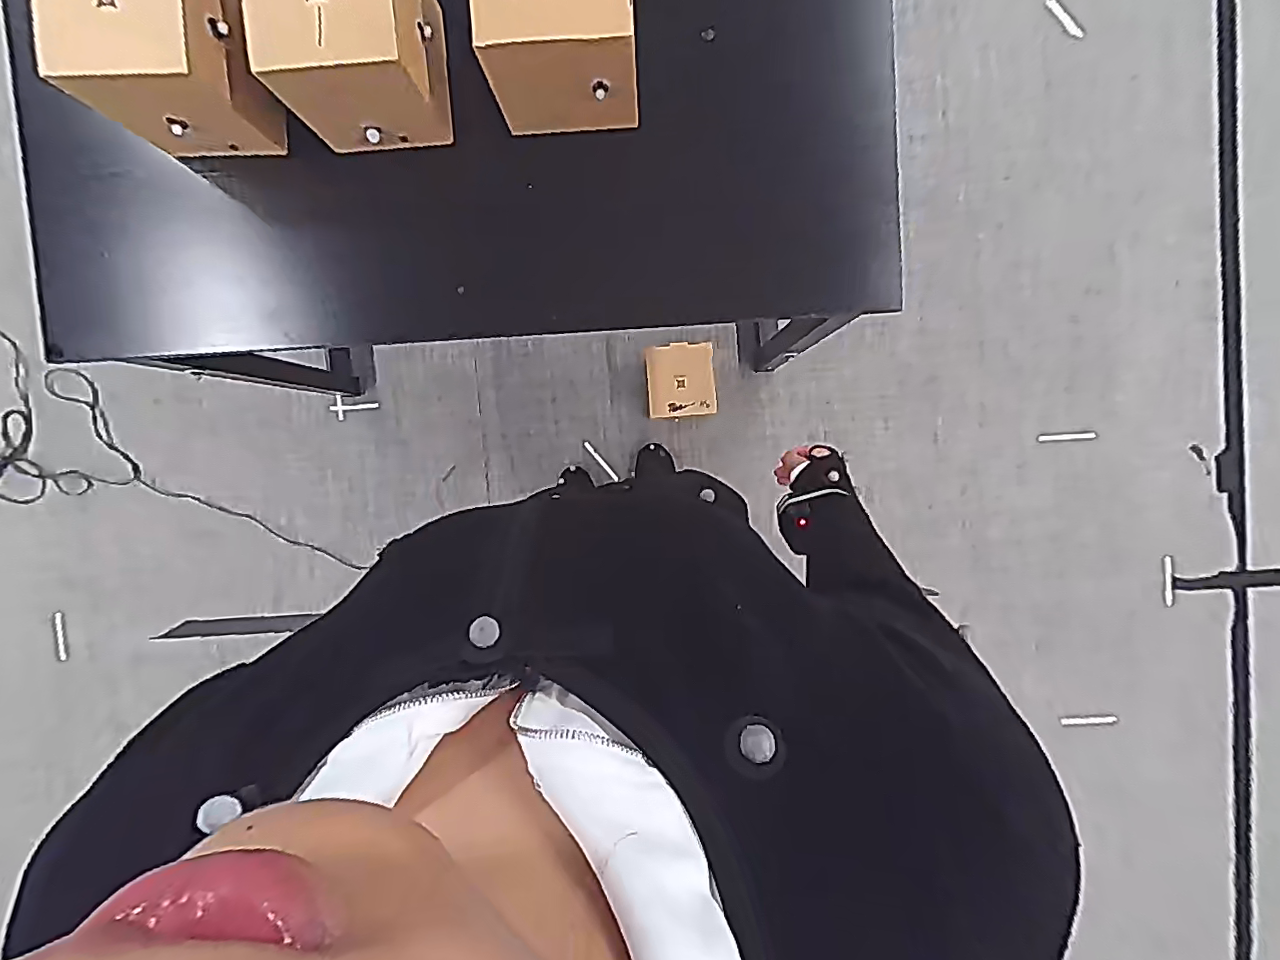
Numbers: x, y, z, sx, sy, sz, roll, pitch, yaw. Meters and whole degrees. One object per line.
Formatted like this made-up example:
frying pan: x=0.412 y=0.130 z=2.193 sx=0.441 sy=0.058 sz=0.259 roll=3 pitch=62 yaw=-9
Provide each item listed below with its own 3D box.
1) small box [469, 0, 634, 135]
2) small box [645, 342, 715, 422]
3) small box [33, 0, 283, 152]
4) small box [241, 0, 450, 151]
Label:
small box: x=-0.097 y=-0.553 z=0.655 sx=0.179 sy=0.176 sz=0.168 roll=-3 pitch=92 yaw=2
small box: x=0.098 y=-0.248 z=1.397 sx=0.168 sy=0.176 sz=0.179 roll=-4 pitch=93 yaw=2
small box: x=-0.570 y=-0.529 z=0.661 sx=0.168 sy=0.176 sz=0.179 roll=-1 pitch=93 yaw=0
small box: x=-0.345 y=-0.537 z=0.657 sx=0.168 sy=0.176 sz=0.179 roll=-4 pitch=94 yaw=1
